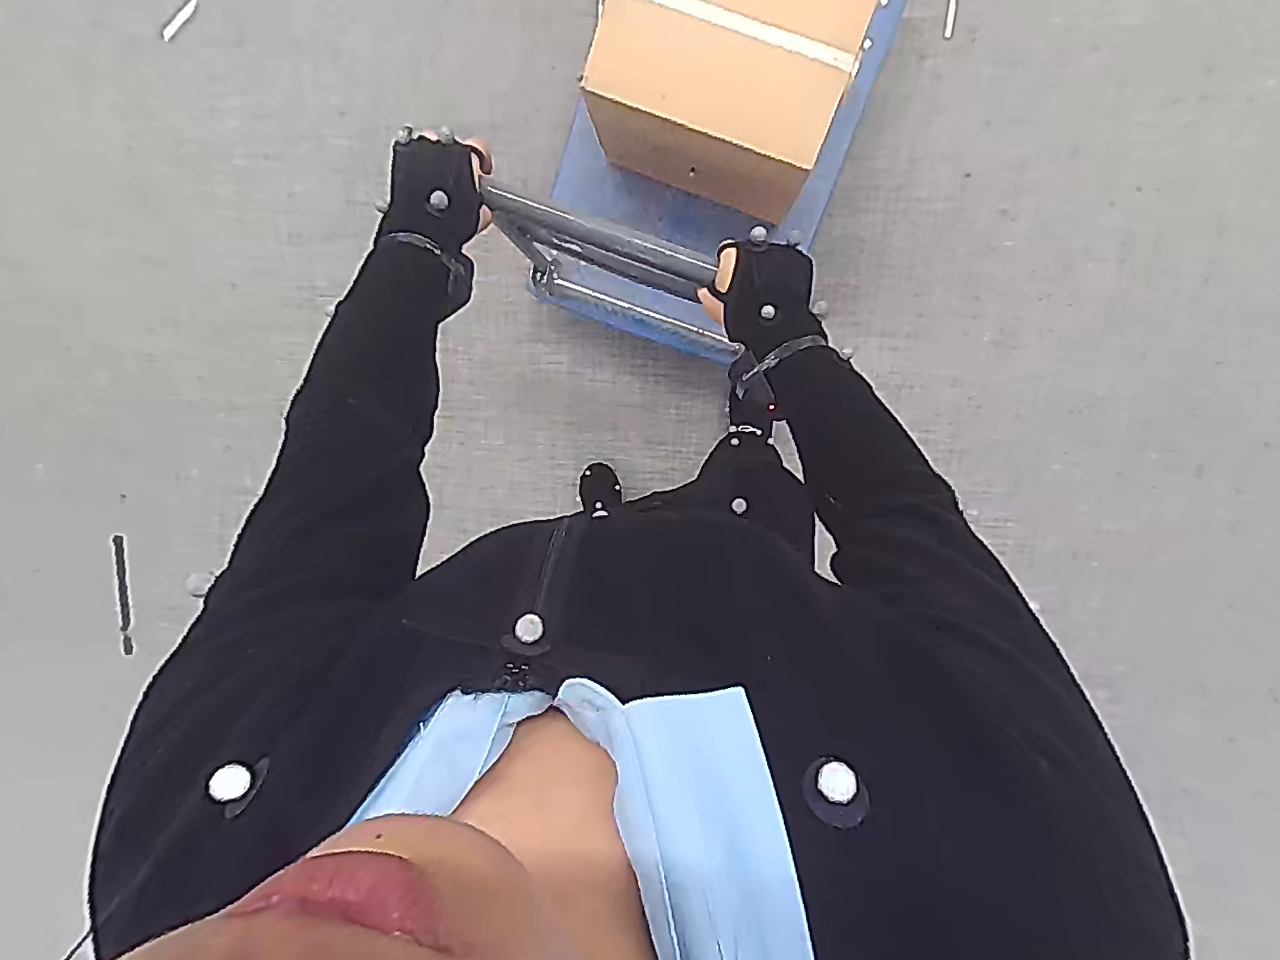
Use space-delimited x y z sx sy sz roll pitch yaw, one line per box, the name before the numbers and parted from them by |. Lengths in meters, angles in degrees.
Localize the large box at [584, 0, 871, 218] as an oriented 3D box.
large box | 0.157 -0.746 1.012 0.408 0.320 0.320 20 100 2
